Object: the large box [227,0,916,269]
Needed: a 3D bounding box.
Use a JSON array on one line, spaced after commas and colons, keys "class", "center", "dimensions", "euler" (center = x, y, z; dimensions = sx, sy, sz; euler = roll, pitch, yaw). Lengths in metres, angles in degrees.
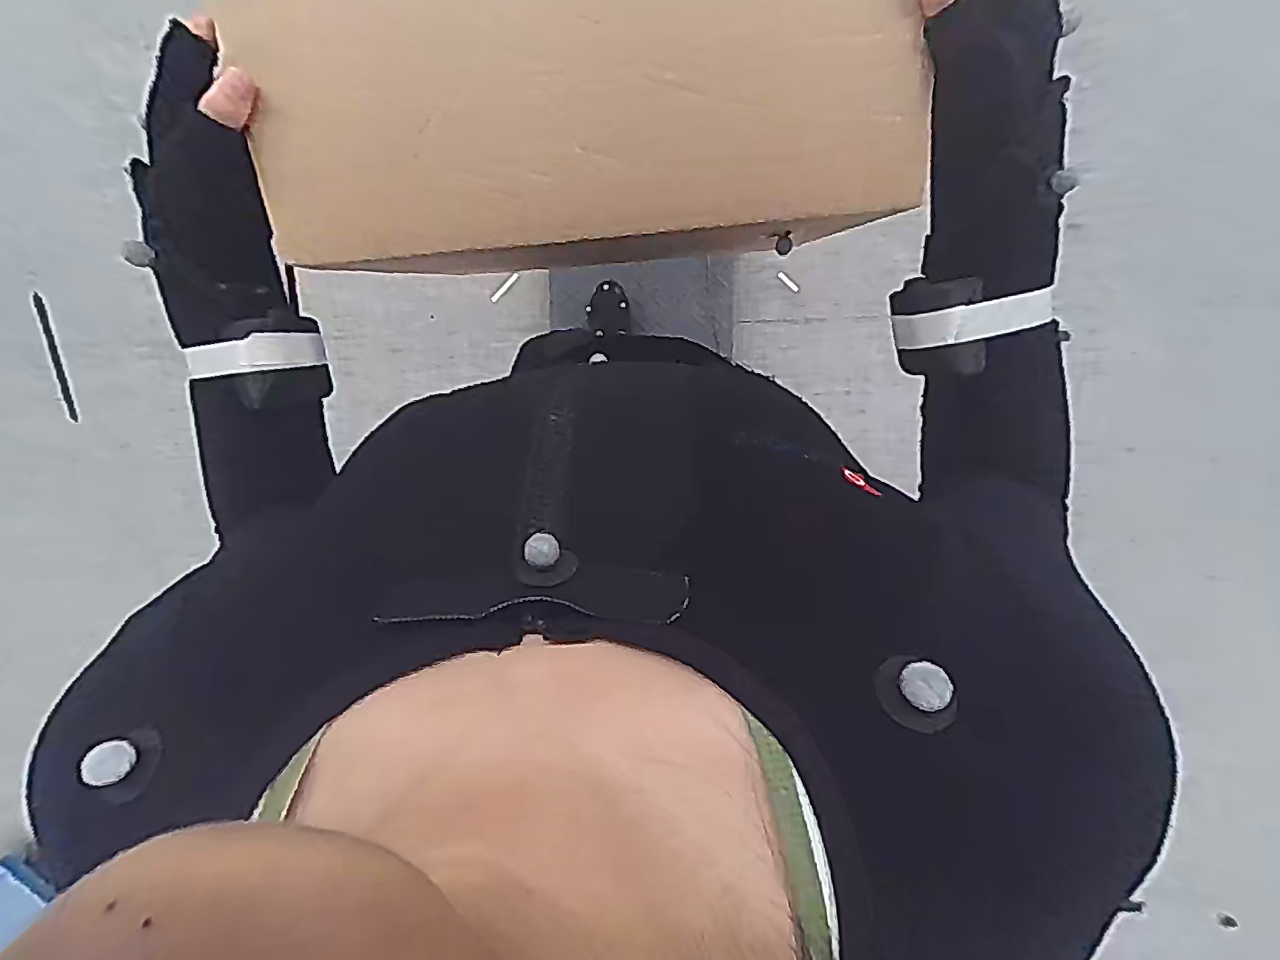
[{"class": "large box", "center": [-0.038, -0.355, 0.440], "dimensions": [0.408, 0.320, 0.320], "euler": [-4, 109, 3]}]
